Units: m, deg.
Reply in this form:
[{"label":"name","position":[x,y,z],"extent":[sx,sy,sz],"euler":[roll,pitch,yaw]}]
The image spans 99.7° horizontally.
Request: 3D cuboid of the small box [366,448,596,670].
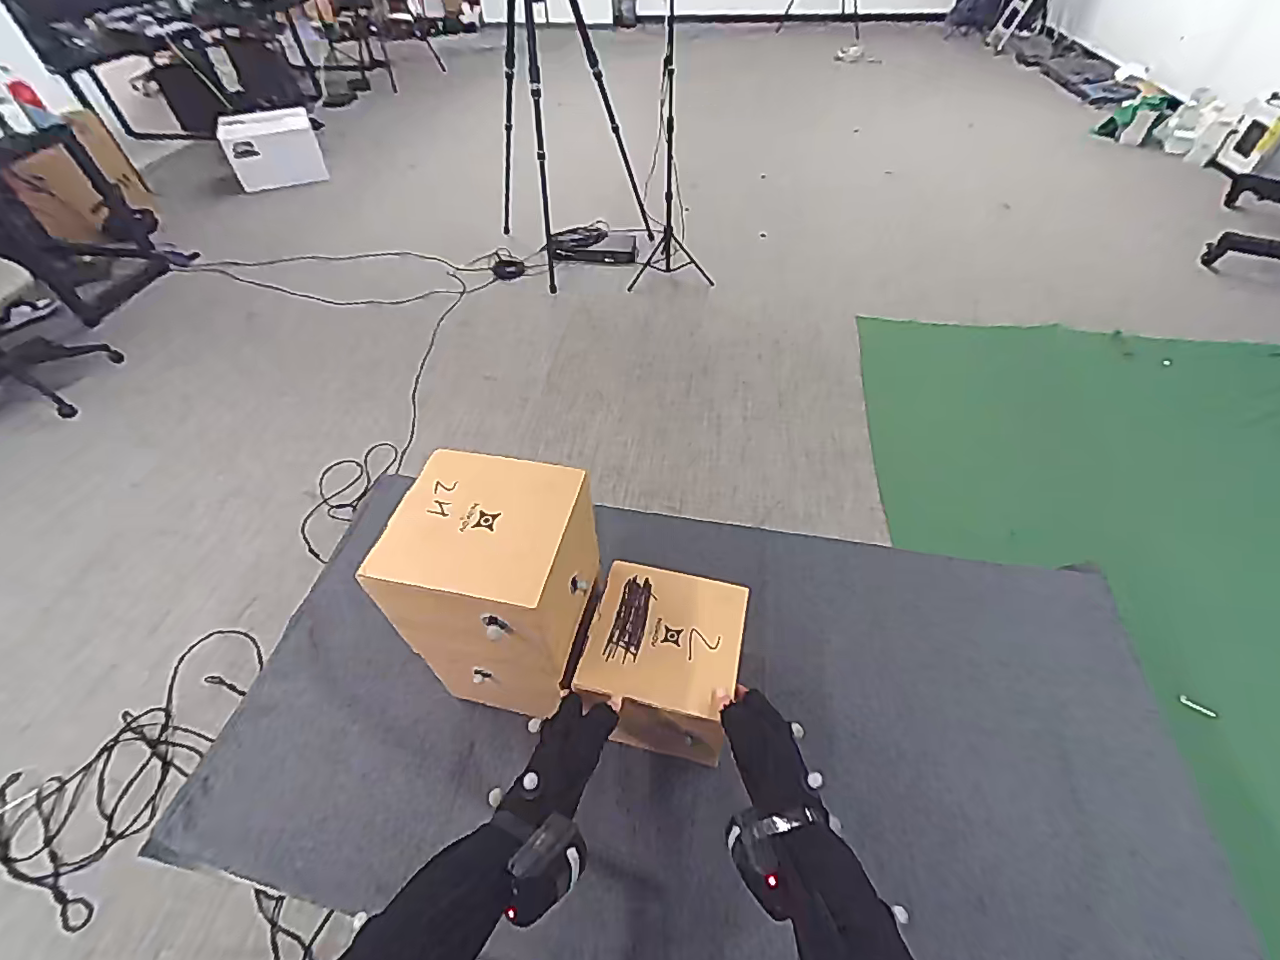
[{"label":"small box","position":[-0.152,0.091,0.597],"extent":[0.179,0.176,0.168],"euler":[9,48,8]}]
